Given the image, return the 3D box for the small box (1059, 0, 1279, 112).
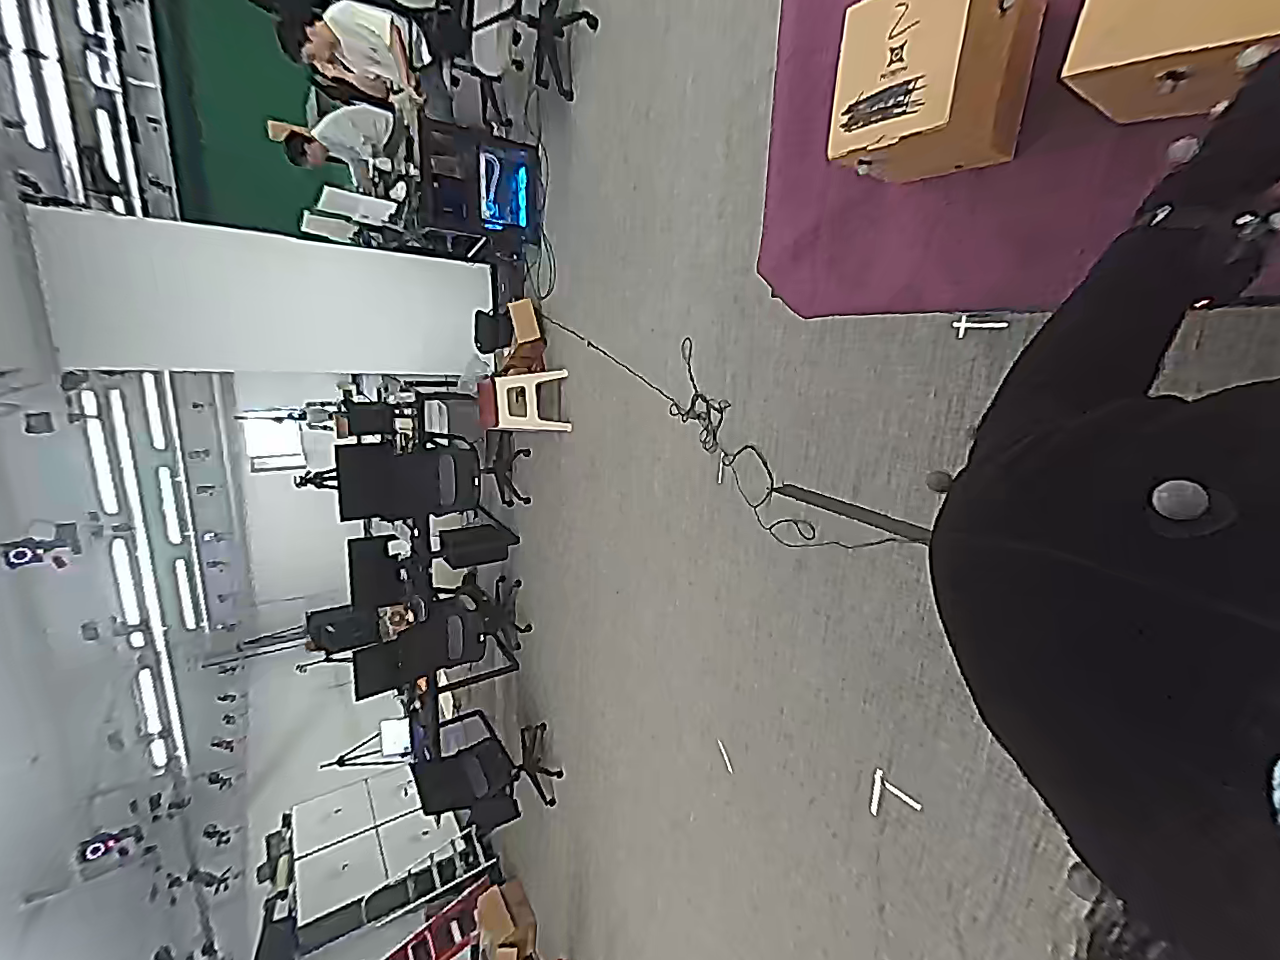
[{"bbox_3d":[0.522,-0.443,0.467,0.179,0.176,0.168,33,122,49],"label":"small box"}]
